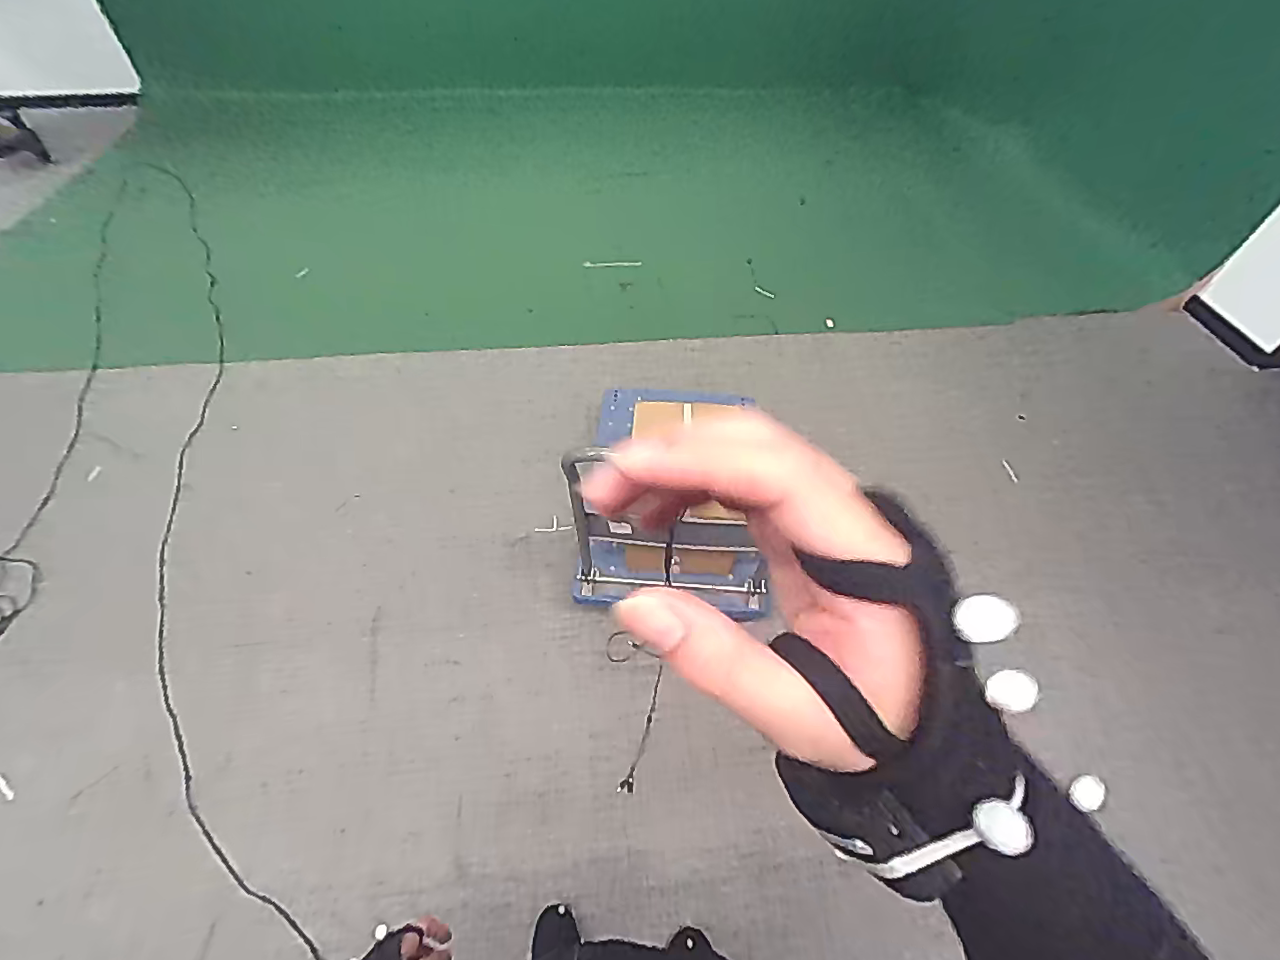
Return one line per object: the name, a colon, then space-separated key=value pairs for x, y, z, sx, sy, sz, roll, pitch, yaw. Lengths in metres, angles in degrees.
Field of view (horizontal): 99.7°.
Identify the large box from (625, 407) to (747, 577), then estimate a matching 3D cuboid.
large box: x=0.127 y=0.038 z=1.592 sx=0.320 sy=0.320 sz=0.408 roll=3 pitch=52 yaw=2
